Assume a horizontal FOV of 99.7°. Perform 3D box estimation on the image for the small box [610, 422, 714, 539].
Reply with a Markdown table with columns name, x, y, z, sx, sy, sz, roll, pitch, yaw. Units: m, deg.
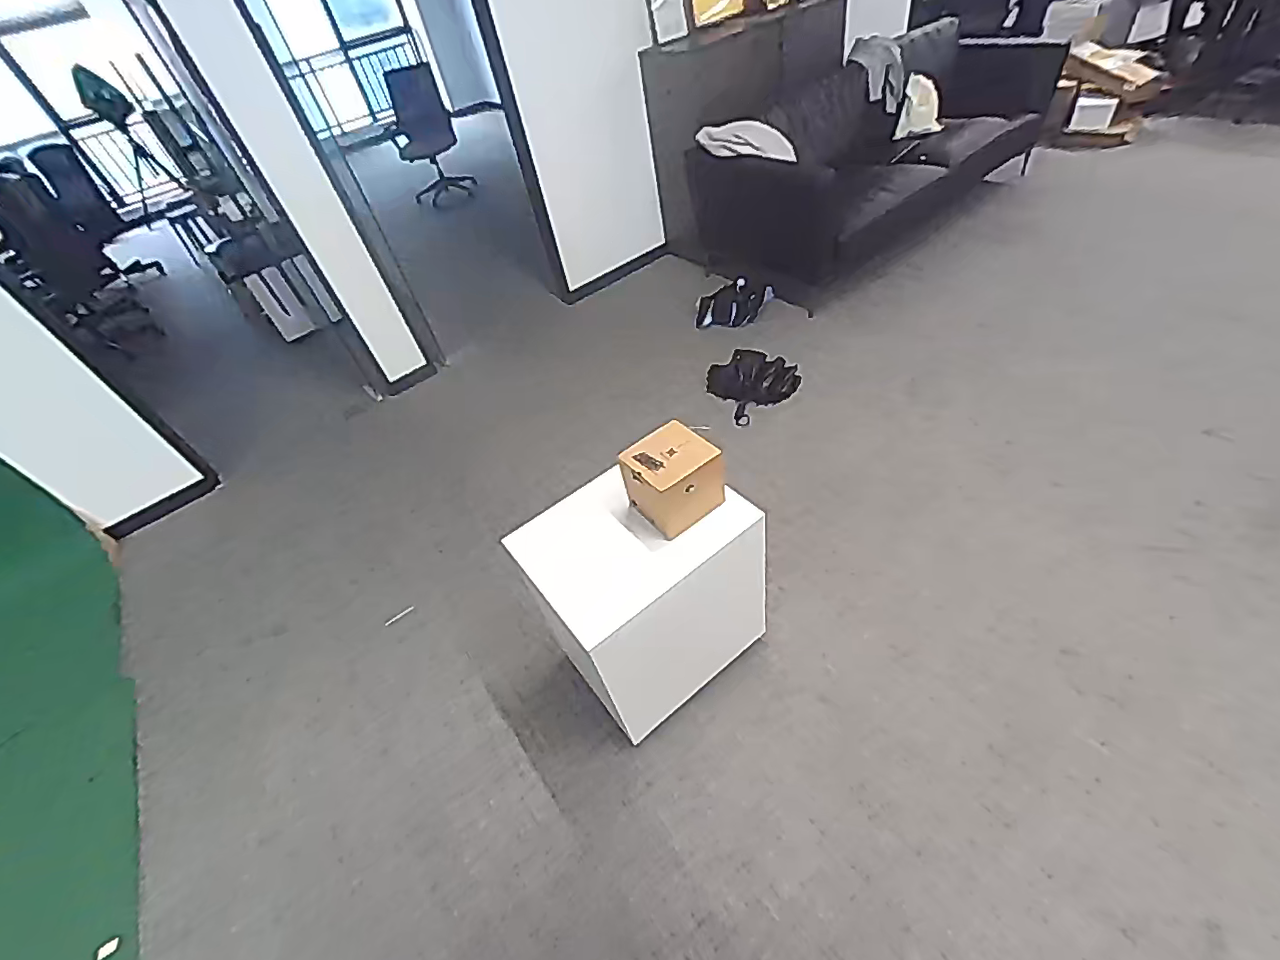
| name | x | y | z | sx | sy | sz | roll | pitch | yaw |
| --- | --- | --- | --- | --- | --- | --- | --- | --- | --- |
| small box | 0.058 | 0.004 | 1.244 | 0.179 | 0.176 | 0.168 | -32 | 49 | -22 |
